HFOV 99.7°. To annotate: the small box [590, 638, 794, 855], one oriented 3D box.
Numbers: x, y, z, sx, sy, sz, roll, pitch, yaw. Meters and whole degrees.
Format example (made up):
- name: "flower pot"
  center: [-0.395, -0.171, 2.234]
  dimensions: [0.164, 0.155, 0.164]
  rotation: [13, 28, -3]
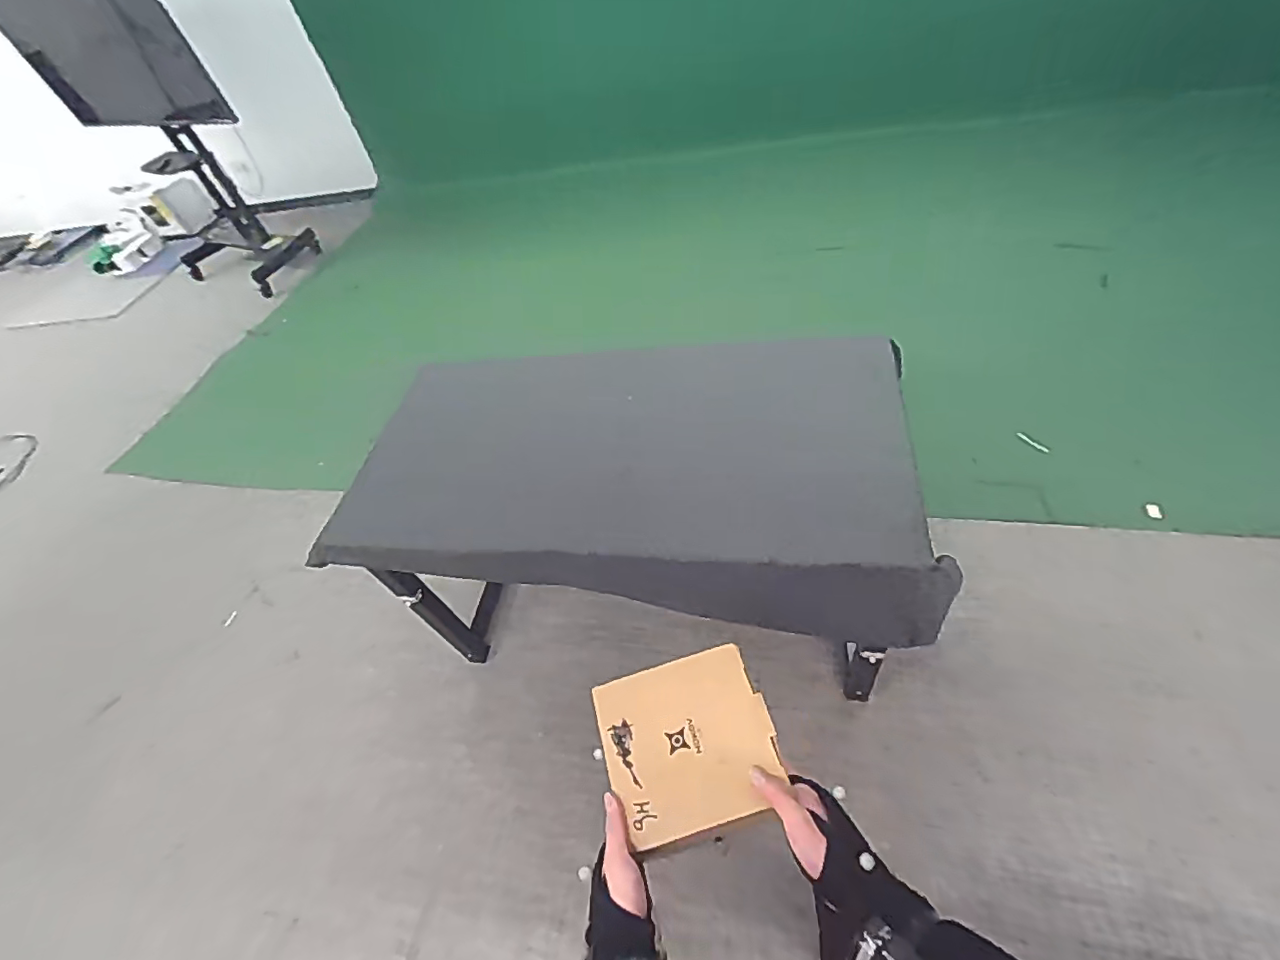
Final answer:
- name: "small box"
  center: [0.052, 0.307, 0.619]
  dimensions: [0.179, 0.176, 0.168]
  rotation: [-15, 51, -4]
